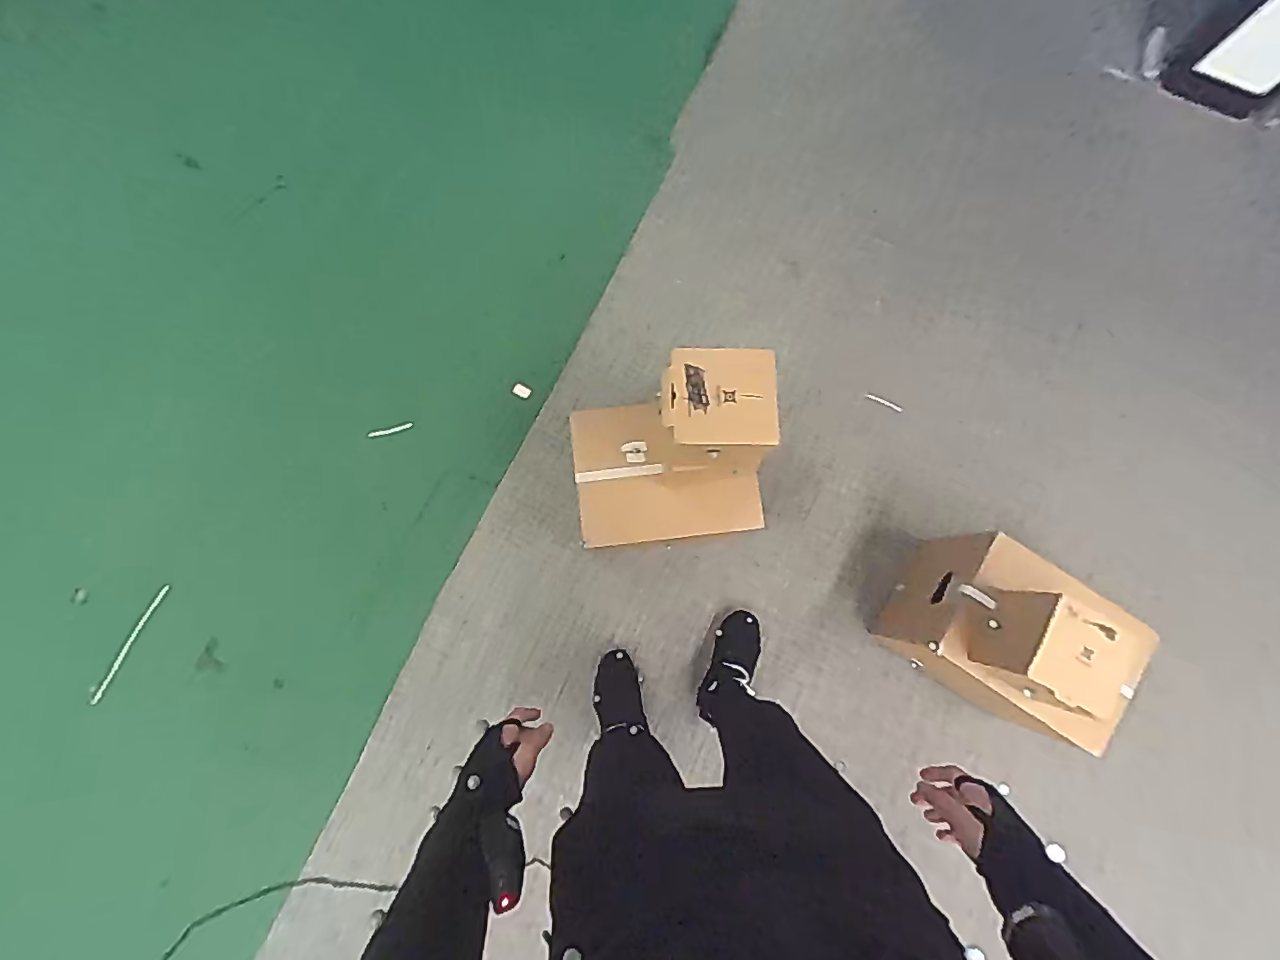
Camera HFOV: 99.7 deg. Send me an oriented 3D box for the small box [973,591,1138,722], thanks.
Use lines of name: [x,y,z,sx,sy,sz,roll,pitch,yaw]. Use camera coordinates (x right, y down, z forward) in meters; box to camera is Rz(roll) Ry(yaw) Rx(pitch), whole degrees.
small box: [0.808,0.338,1.073,0.168,0.176,0.179,32,82,3]

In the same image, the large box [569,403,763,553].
large box: [0.053,0.002,1.348,0.408,0.320,0.320,-7,79,-3]

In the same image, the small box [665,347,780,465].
small box: [0.136,-0.123,0.957,0.179,0.176,0.168,1,80,-3]
